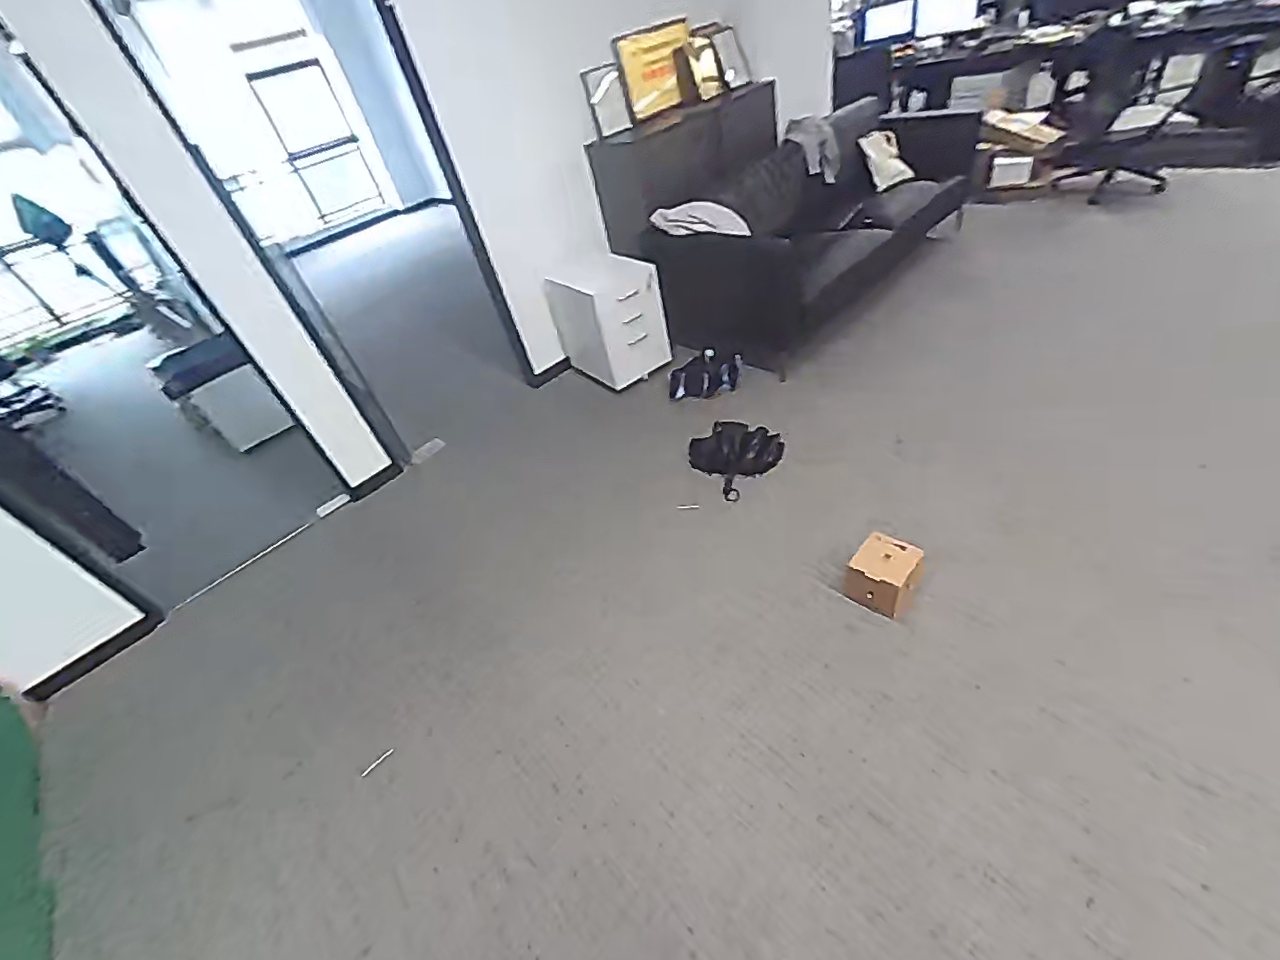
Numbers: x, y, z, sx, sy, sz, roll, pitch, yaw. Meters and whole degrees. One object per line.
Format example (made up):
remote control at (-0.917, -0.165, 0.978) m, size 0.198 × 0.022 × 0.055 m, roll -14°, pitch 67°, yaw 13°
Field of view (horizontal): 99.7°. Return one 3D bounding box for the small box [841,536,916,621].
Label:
small box at (0.771, 0.322, 1.752) m, size 0.168 × 0.176 × 0.179 m, roll 25°, pitch 54°, yaw 38°
